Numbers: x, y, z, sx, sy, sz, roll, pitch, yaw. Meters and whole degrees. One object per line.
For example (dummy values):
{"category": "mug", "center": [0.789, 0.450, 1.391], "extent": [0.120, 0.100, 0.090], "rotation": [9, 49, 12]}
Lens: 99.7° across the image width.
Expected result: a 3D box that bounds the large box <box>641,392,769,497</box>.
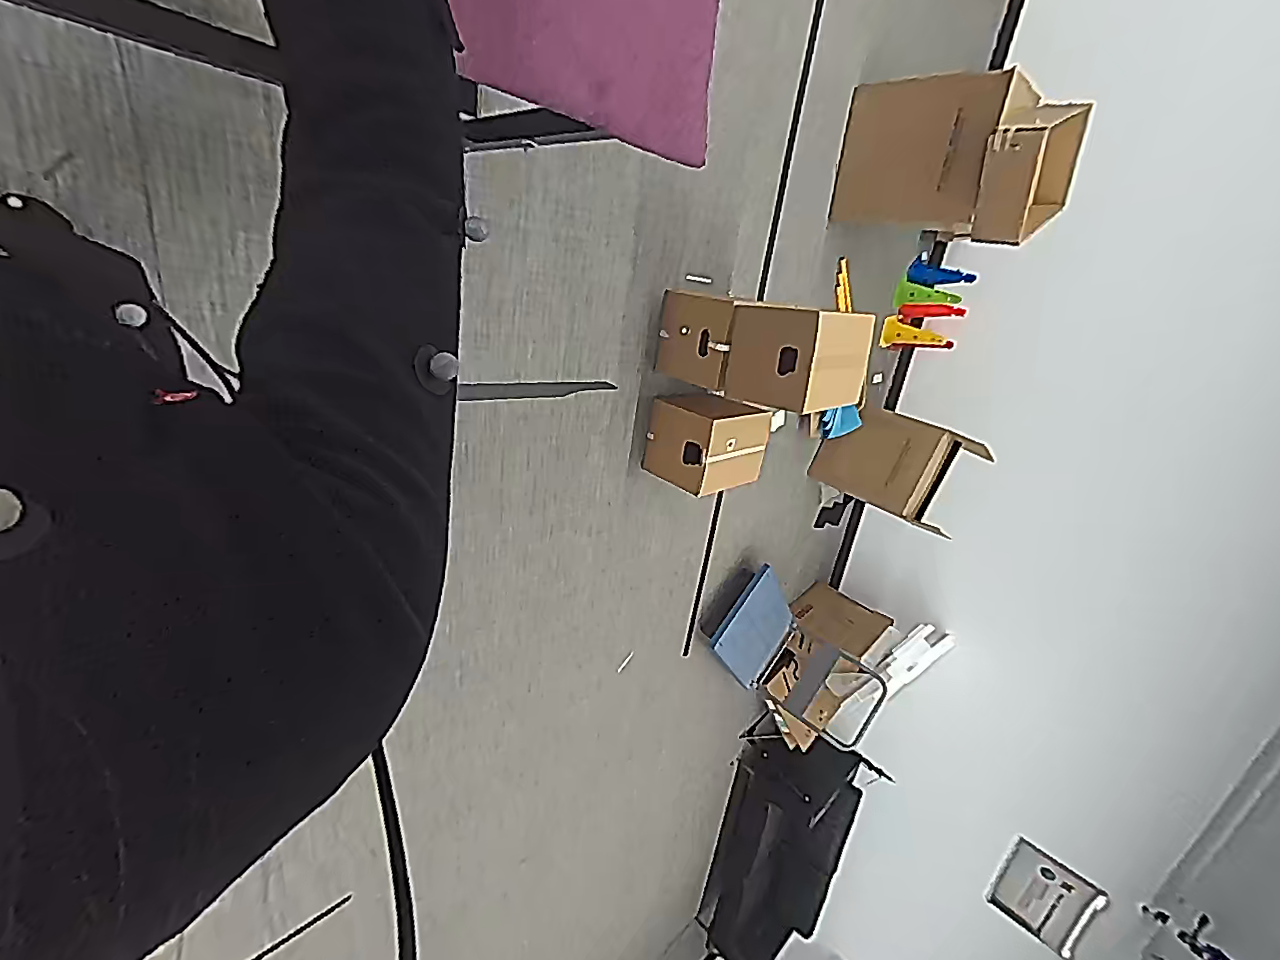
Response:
{"category": "large box", "center": [0.264, -0.165, 2.220], "extent": [0.408, 0.320, 0.320], "rotation": [-13, 120, -43]}
